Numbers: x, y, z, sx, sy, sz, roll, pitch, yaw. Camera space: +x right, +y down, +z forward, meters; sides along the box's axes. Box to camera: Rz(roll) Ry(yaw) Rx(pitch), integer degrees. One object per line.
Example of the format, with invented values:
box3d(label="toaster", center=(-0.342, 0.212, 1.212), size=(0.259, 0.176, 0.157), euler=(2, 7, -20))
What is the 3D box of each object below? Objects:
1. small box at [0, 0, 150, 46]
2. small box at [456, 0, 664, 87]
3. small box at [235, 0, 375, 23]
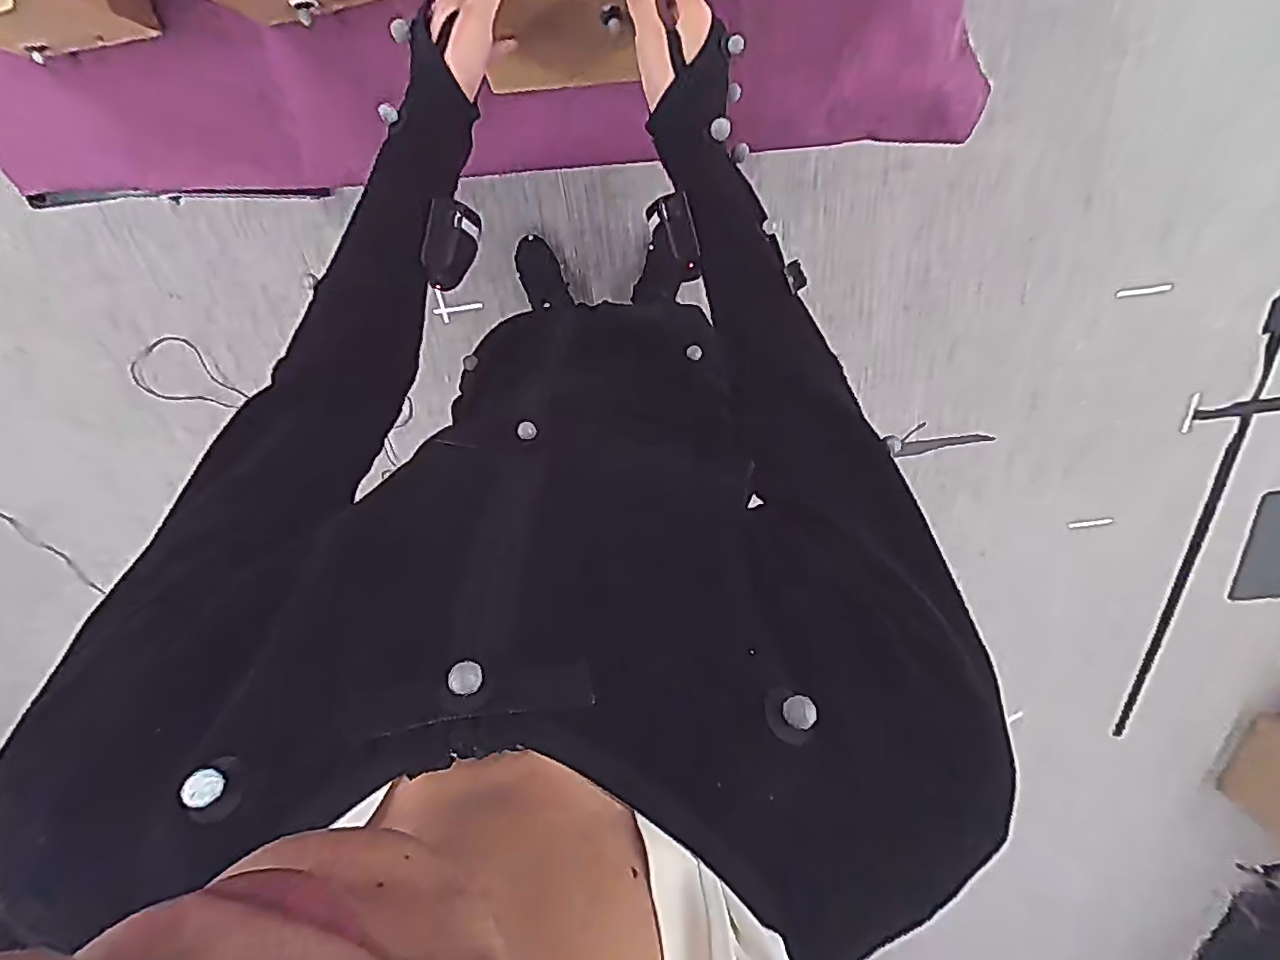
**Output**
box3d(label="small box", center=(-0.650, -0.556, 0.526), size=(0.168, 0.176, 0.179), euler=(-9, 115, 1))
box3d(label="small box", center=(-0.077, -0.489, 0.488), size=(0.179, 0.176, 0.168), euler=(-7, 104, -2))
box3d(label="small box", center=(-0.378, -0.593, 0.524), size=(0.168, 0.176, 0.179), euler=(-11, 117, 4))
